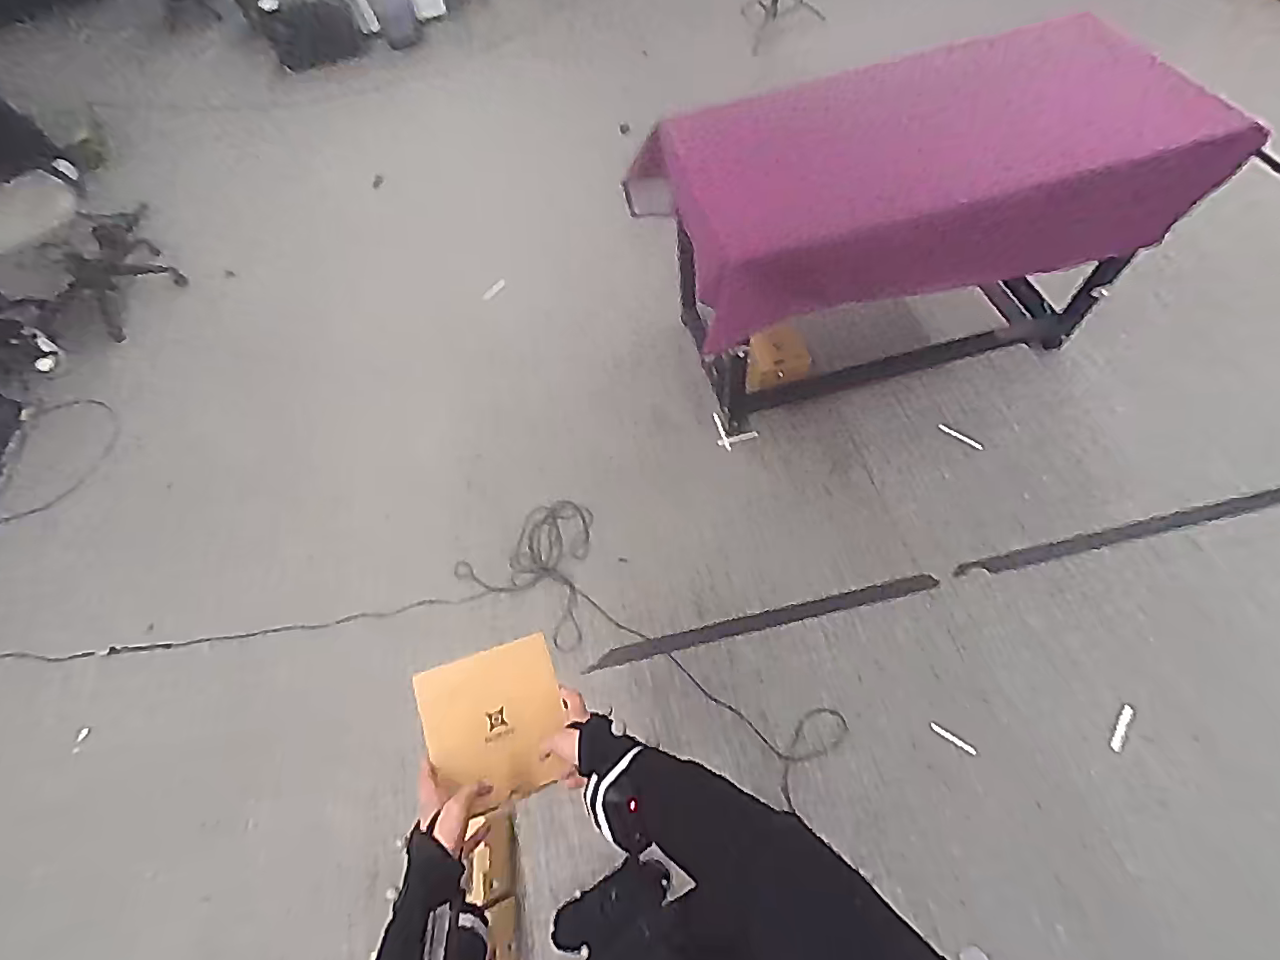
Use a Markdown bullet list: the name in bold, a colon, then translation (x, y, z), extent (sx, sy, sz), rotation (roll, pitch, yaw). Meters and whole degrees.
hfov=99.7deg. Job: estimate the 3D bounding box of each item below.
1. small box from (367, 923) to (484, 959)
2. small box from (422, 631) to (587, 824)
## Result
- **small box**: translation (-0.405, 0.974, 1.029), extent (0.168, 0.176, 0.179), rotation (-10, 63, 2)
- **small box**: translation (-0.183, 0.321, 0.722), extent (0.168, 0.176, 0.179), rotation (-14, 71, -19)
